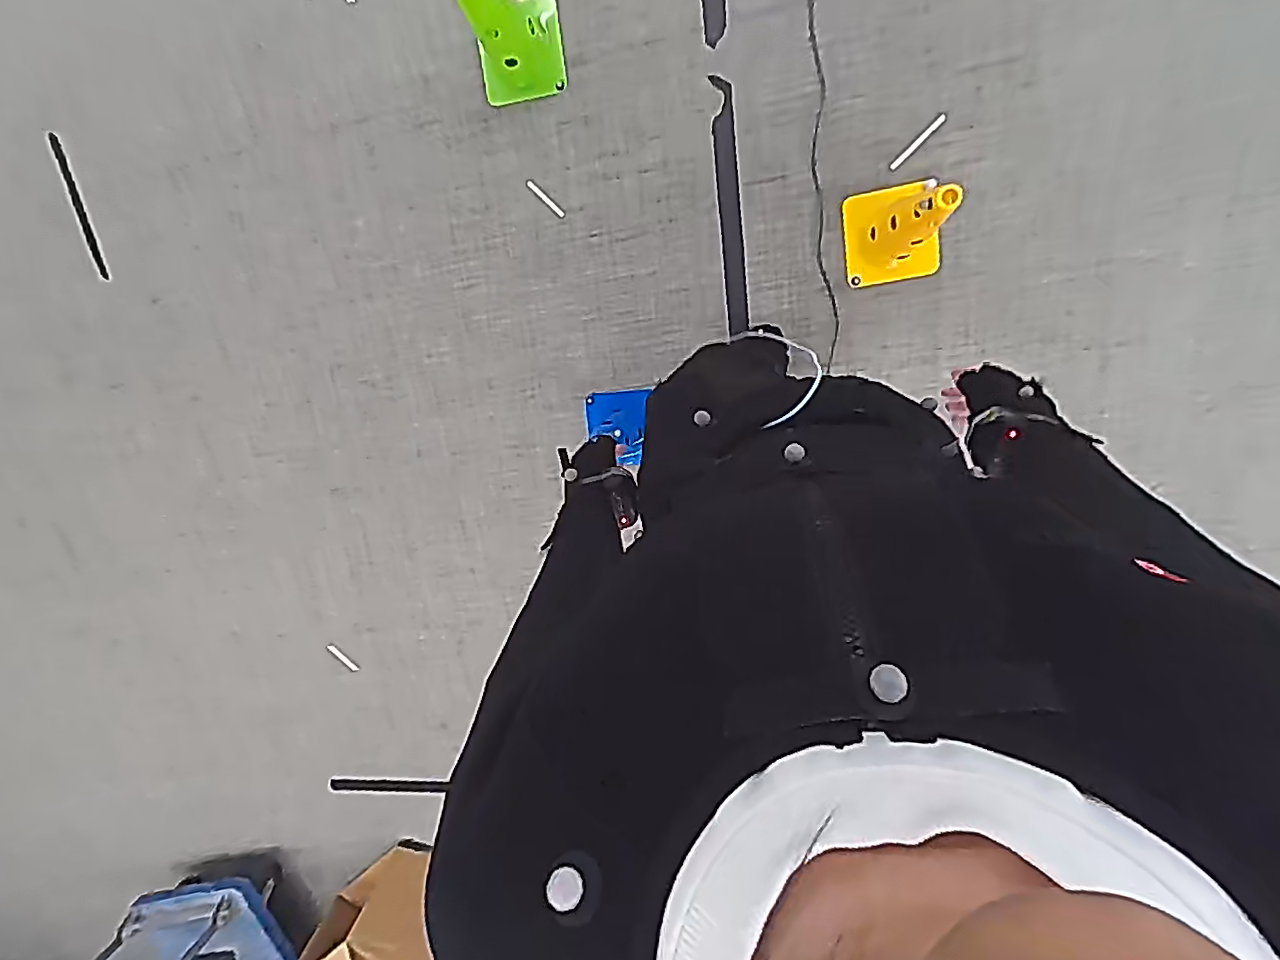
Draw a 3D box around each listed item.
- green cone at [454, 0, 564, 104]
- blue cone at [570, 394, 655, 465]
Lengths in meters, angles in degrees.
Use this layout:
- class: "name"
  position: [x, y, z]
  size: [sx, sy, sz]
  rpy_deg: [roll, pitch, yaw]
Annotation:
- class: "green cone"
  position: [-0.313, -0.961, 1.093]
  size: [0.202, 0.368, 0.200]
  rpy_deg: [-4, 104, 12]
- class: "blue cone"
  position: [-0.086, -0.095, 1.301]
  size: [0.192, 0.380, 0.193]
  rpy_deg: [-1, 104, 11]
